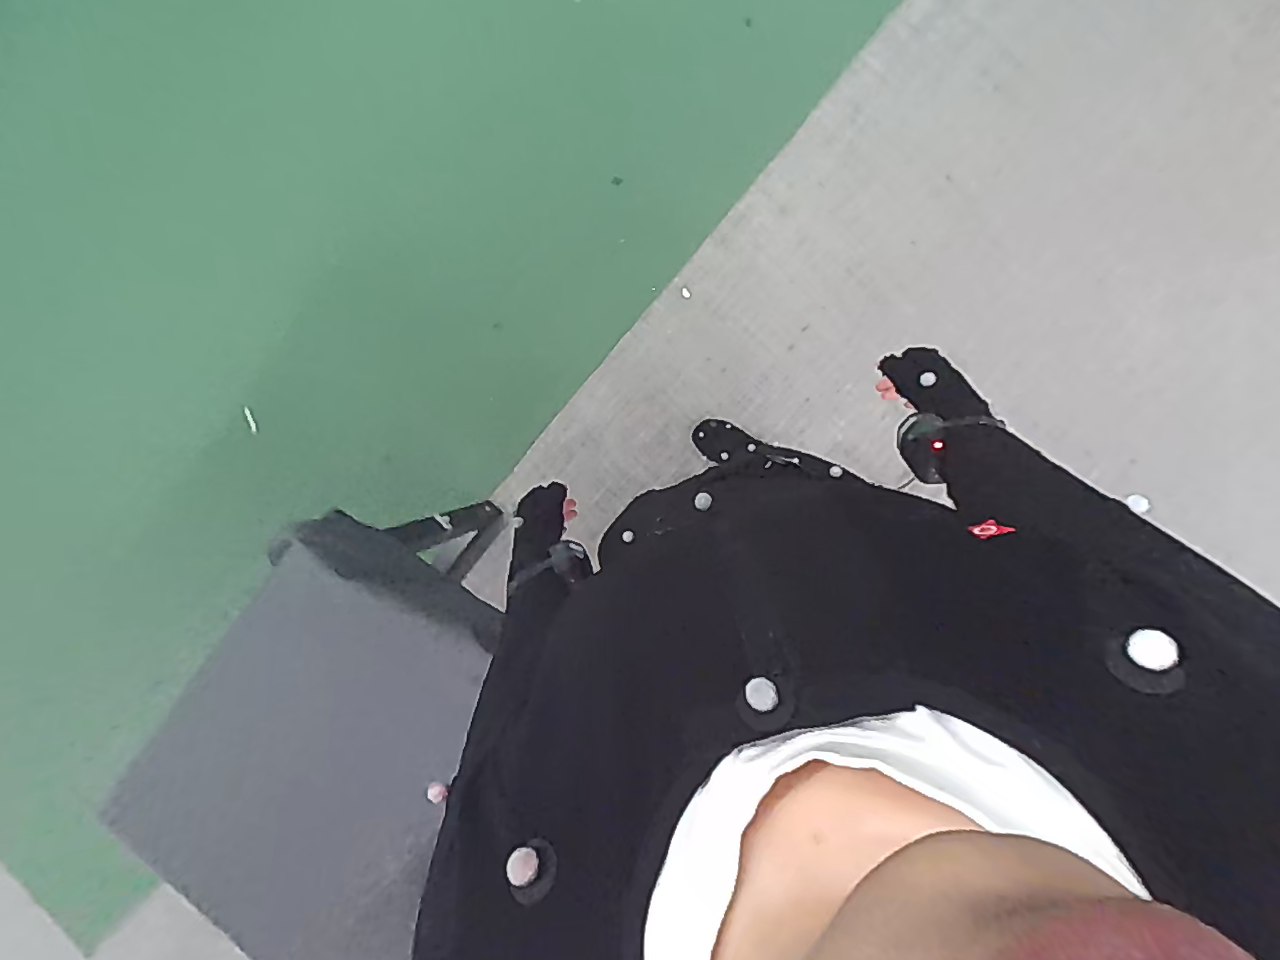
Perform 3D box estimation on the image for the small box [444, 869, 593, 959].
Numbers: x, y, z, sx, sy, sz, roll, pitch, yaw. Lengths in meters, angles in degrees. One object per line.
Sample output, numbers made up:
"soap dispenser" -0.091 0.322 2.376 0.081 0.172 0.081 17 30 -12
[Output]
"small box" -0.182 0.699 0.745 0.168 0.176 0.179 40 97 2
